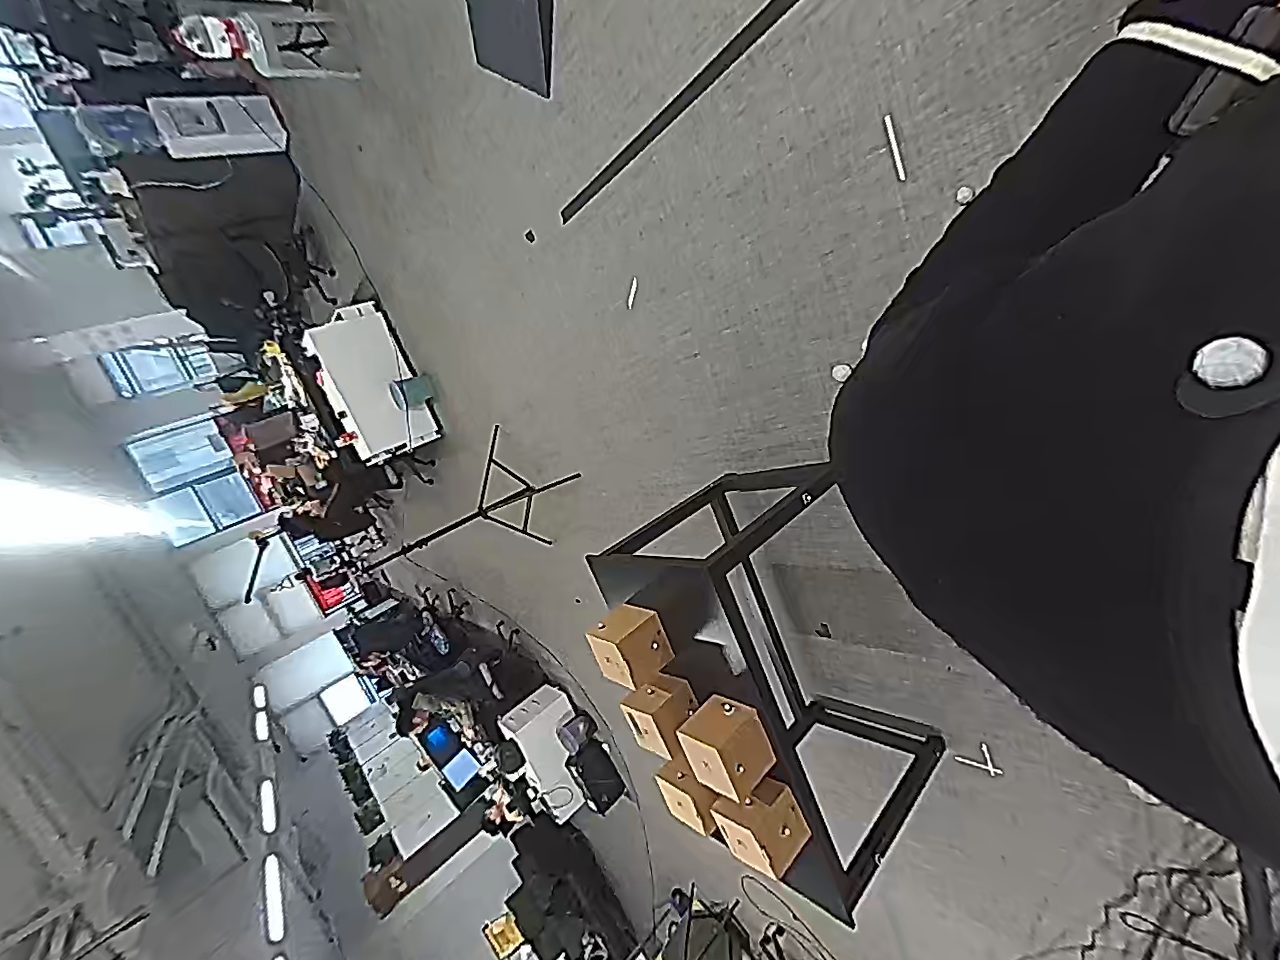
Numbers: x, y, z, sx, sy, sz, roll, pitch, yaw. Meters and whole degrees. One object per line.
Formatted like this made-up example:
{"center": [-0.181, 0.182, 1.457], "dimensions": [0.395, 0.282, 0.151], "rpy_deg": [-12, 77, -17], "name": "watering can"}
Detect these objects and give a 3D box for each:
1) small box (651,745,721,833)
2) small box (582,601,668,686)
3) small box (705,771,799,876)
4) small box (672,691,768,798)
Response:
{"center": [0.170, 0.977, 1.747], "dimensions": [0.179, 0.176, 0.168], "rpy_deg": [-5, 110, 53], "name": "small box"}
{"center": [-0.045, 0.493, 1.661], "dimensions": [0.179, 0.176, 0.168], "rpy_deg": [-3, 113, 53], "name": "small box"}
{"center": [0.324, 0.950, 1.526], "dimensions": [0.179, 0.176, 0.168], "rpy_deg": [-17, 101, 55], "name": "small box"}
{"center": [0.223, 0.717, 1.485], "dimensions": [0.168, 0.176, 0.179], "rpy_deg": [-9, 107, 54], "name": "small box"}
